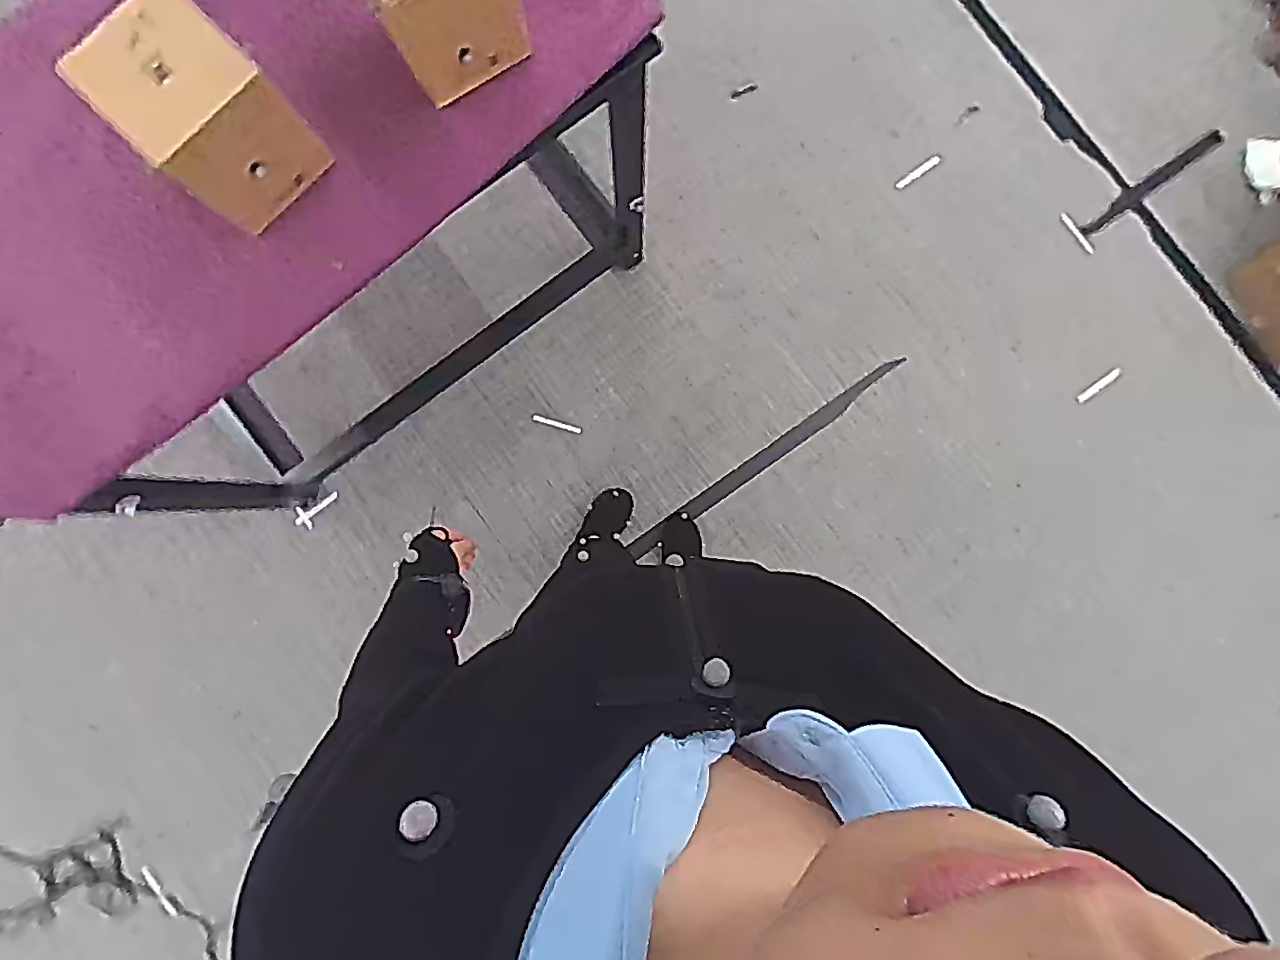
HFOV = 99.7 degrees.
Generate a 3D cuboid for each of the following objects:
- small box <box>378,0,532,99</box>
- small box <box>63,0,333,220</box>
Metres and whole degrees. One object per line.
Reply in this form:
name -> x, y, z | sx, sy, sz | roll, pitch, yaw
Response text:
small box -> -0.267, -0.670, 0.720 | 0.168, 0.176, 0.179 | -32, 87, -2
small box -> -0.554, -0.477, 0.708 | 0.179, 0.176, 0.168 | 45, 87, 2
